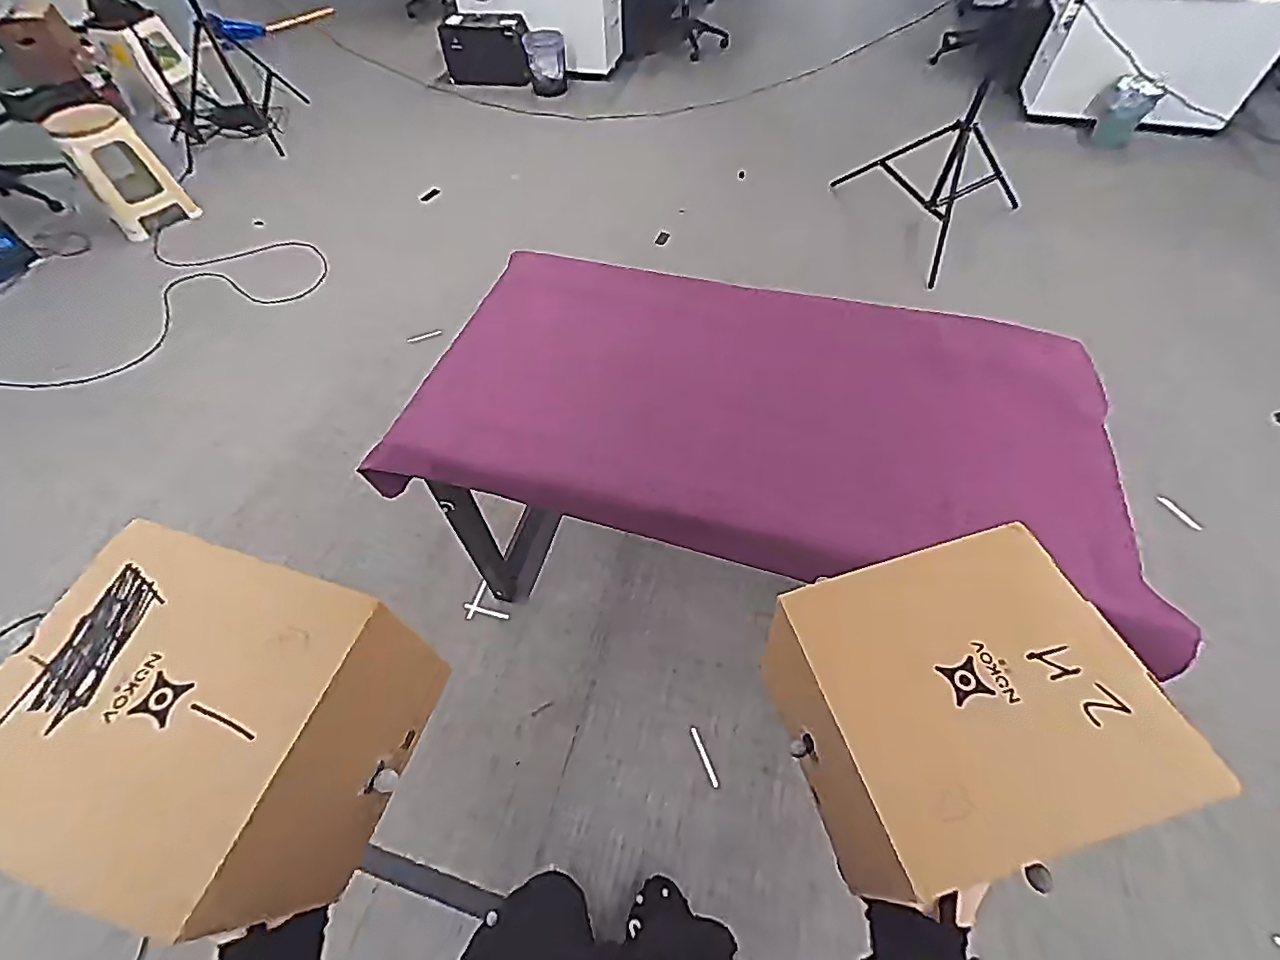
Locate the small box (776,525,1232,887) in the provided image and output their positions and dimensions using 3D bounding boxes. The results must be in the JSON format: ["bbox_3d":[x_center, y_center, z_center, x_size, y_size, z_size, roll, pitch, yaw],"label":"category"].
[{"bbox_3d":[0.204,0.162,0.375,0.179,0.176,0.168,-16,53,-4],"label":"small box"}]

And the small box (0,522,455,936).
[{"bbox_3d":[-0.253,0.156,0.354,0.179,0.176,0.168,16,58,7],"label":"small box"}]
